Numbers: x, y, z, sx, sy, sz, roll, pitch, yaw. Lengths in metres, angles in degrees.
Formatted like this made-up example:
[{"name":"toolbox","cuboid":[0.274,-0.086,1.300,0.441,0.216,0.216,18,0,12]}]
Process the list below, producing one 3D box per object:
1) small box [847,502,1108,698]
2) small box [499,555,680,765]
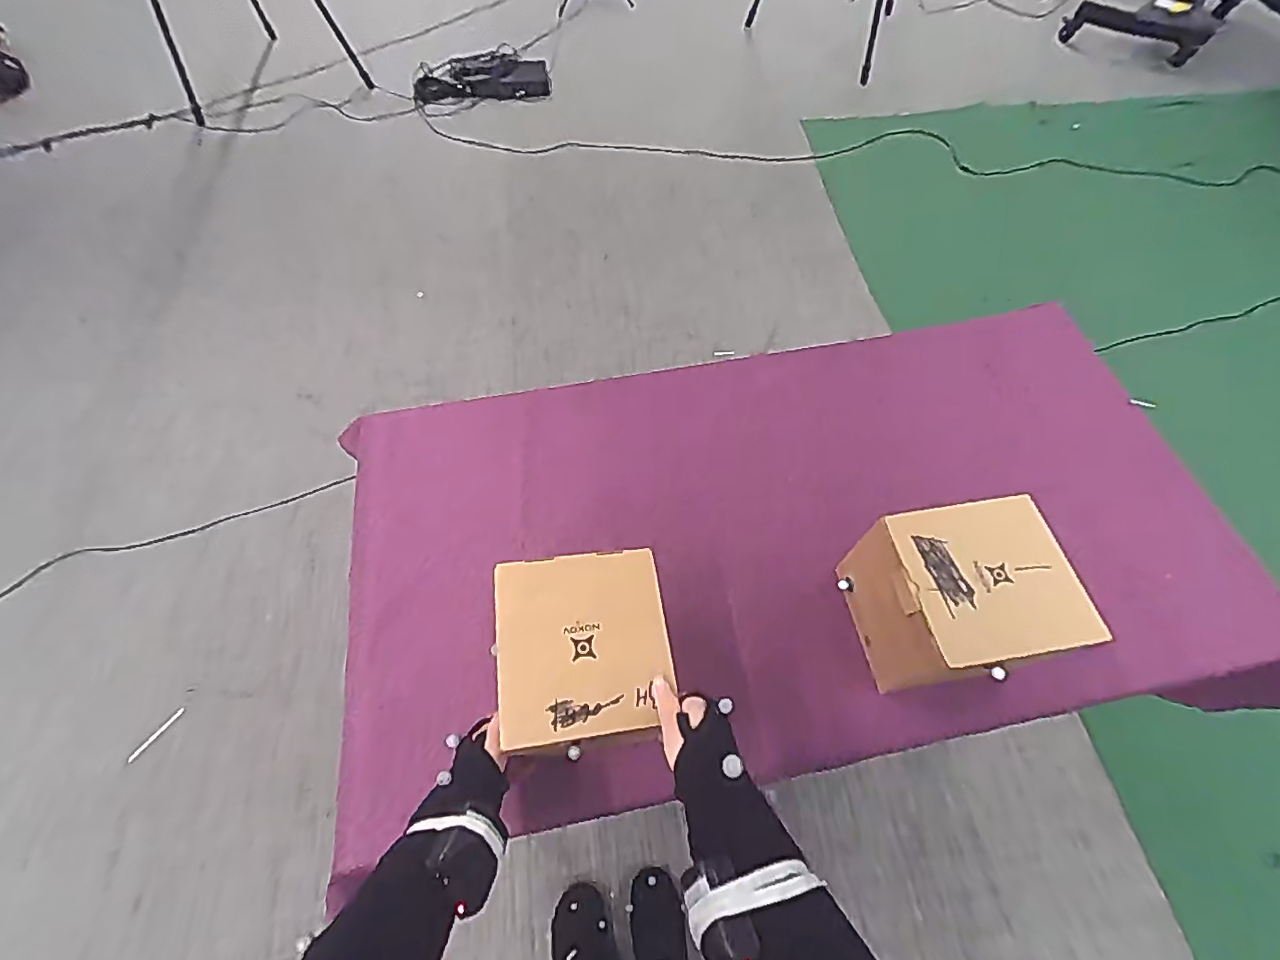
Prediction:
[{"name":"small box","cuboid":[0.361,0.146,0.627,0.179,0.176,0.168,-8,61,-5]},{"name":"small box","cuboid":[-0.062,0.200,0.592,0.168,0.176,0.179,-5,61,-8]}]
